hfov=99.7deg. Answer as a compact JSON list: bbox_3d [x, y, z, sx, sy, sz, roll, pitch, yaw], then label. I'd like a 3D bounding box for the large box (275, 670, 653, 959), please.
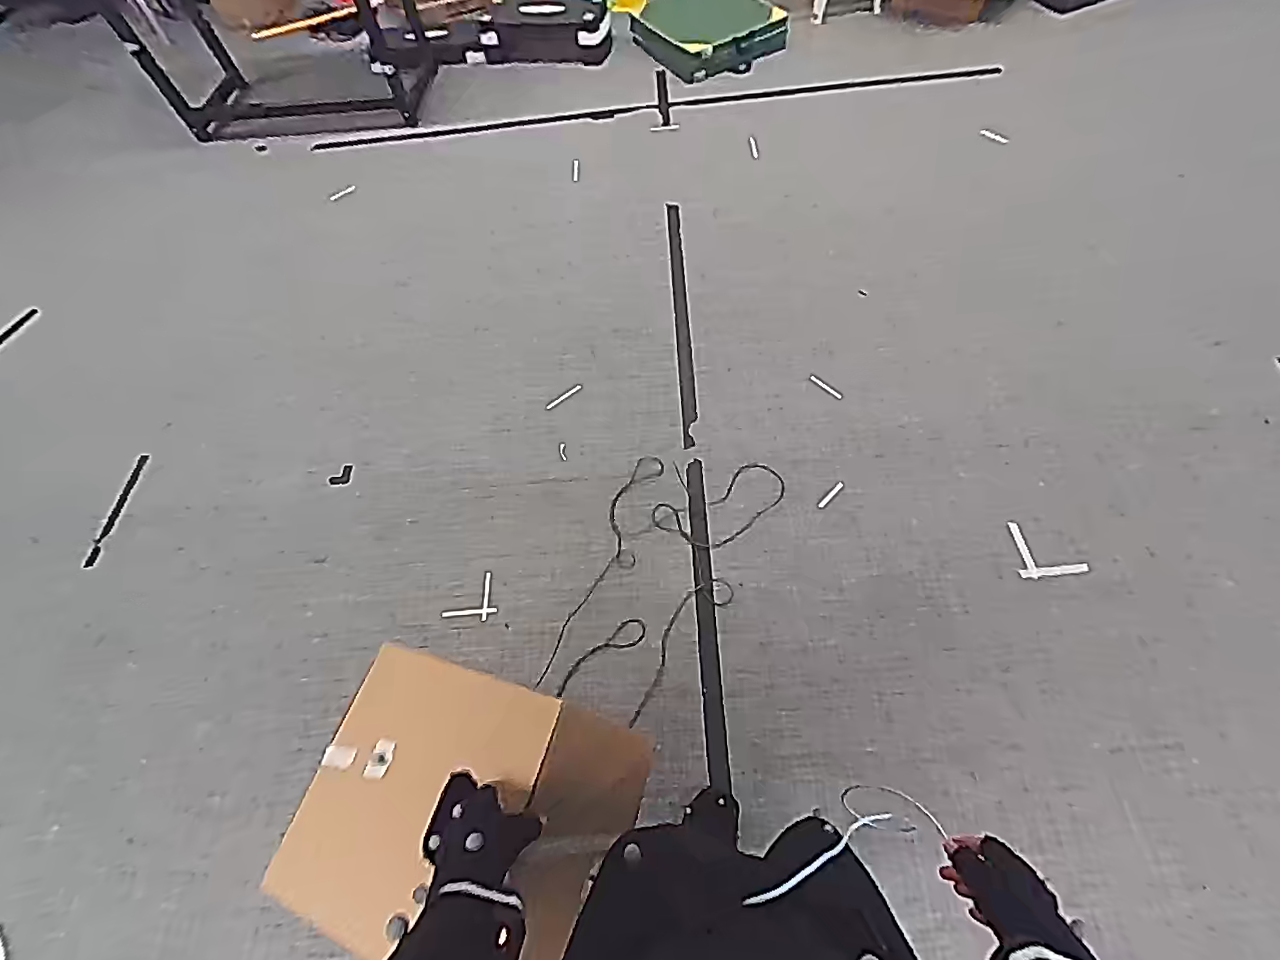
[{"bbox_3d":[-0.213,0.507,0.816,0.320,0.408,0.320,7,63,23],"label":"large box"}]
